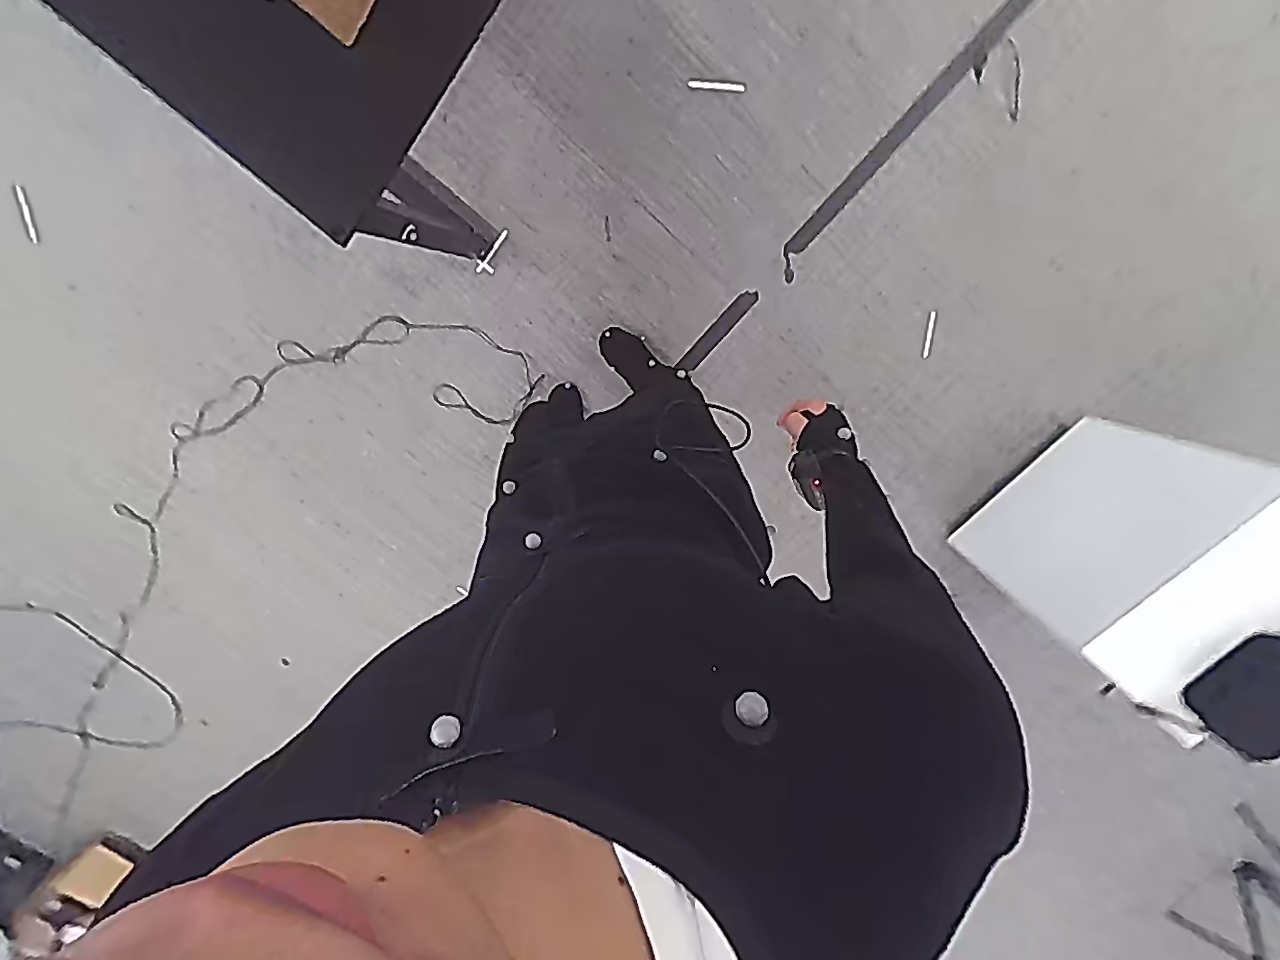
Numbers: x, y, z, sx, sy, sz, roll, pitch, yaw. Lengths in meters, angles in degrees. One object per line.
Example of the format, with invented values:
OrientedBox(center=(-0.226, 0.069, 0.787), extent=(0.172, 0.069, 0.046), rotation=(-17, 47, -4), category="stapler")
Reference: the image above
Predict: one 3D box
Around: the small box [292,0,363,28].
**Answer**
OrientedBox(center=(-0.396, -0.652, 0.591), extent=(0.179, 0.176, 0.168), rotation=(37, 105, -11), category="small box")
